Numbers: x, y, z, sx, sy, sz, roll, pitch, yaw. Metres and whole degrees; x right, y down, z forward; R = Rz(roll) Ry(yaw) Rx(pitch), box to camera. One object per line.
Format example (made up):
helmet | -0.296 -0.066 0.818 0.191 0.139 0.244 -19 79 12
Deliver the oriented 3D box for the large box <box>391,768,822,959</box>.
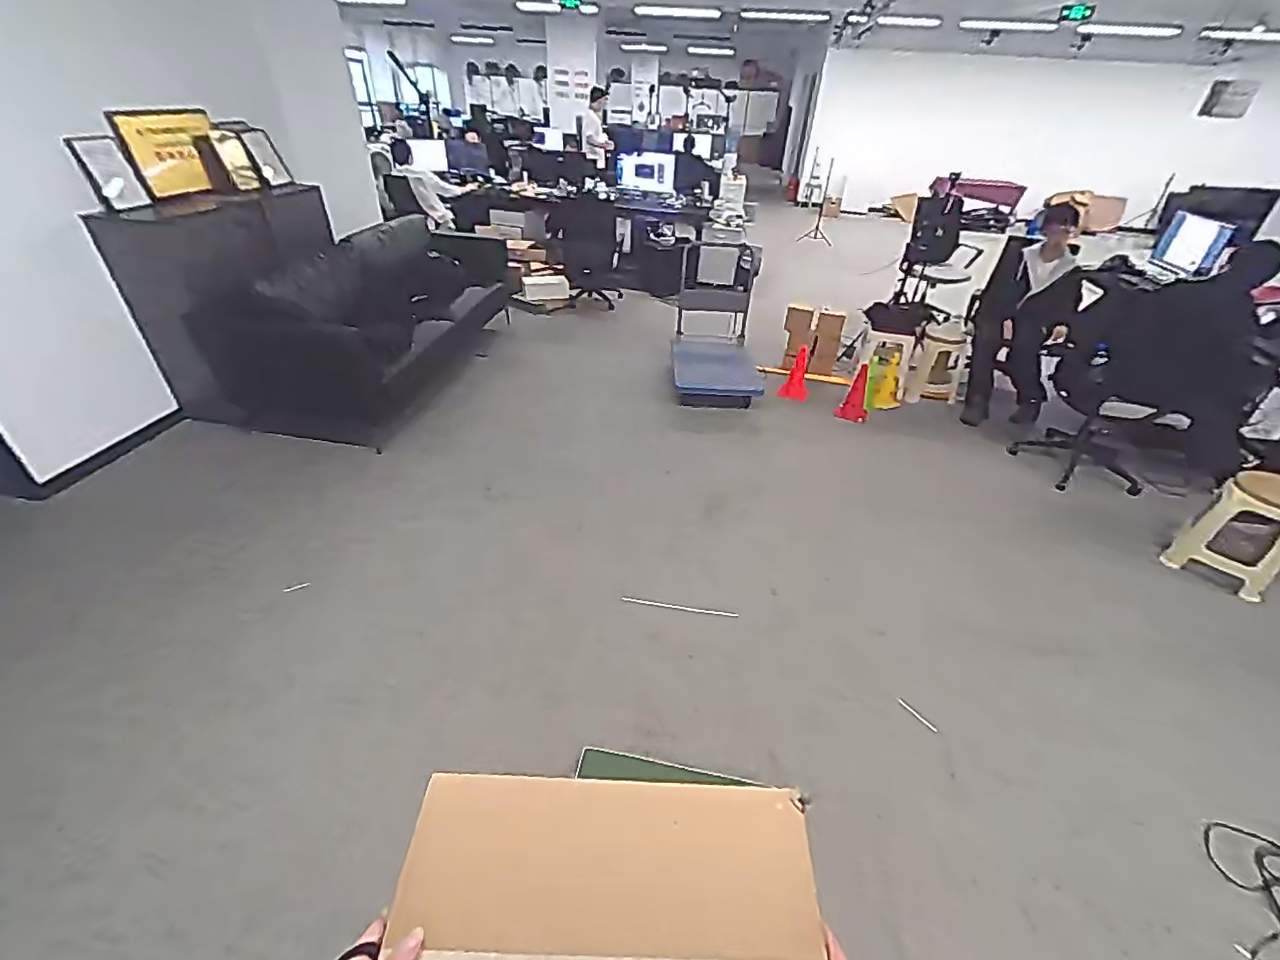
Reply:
large box | -0.037 0.545 0.599 0.408 0.320 0.320 3 44 -1
